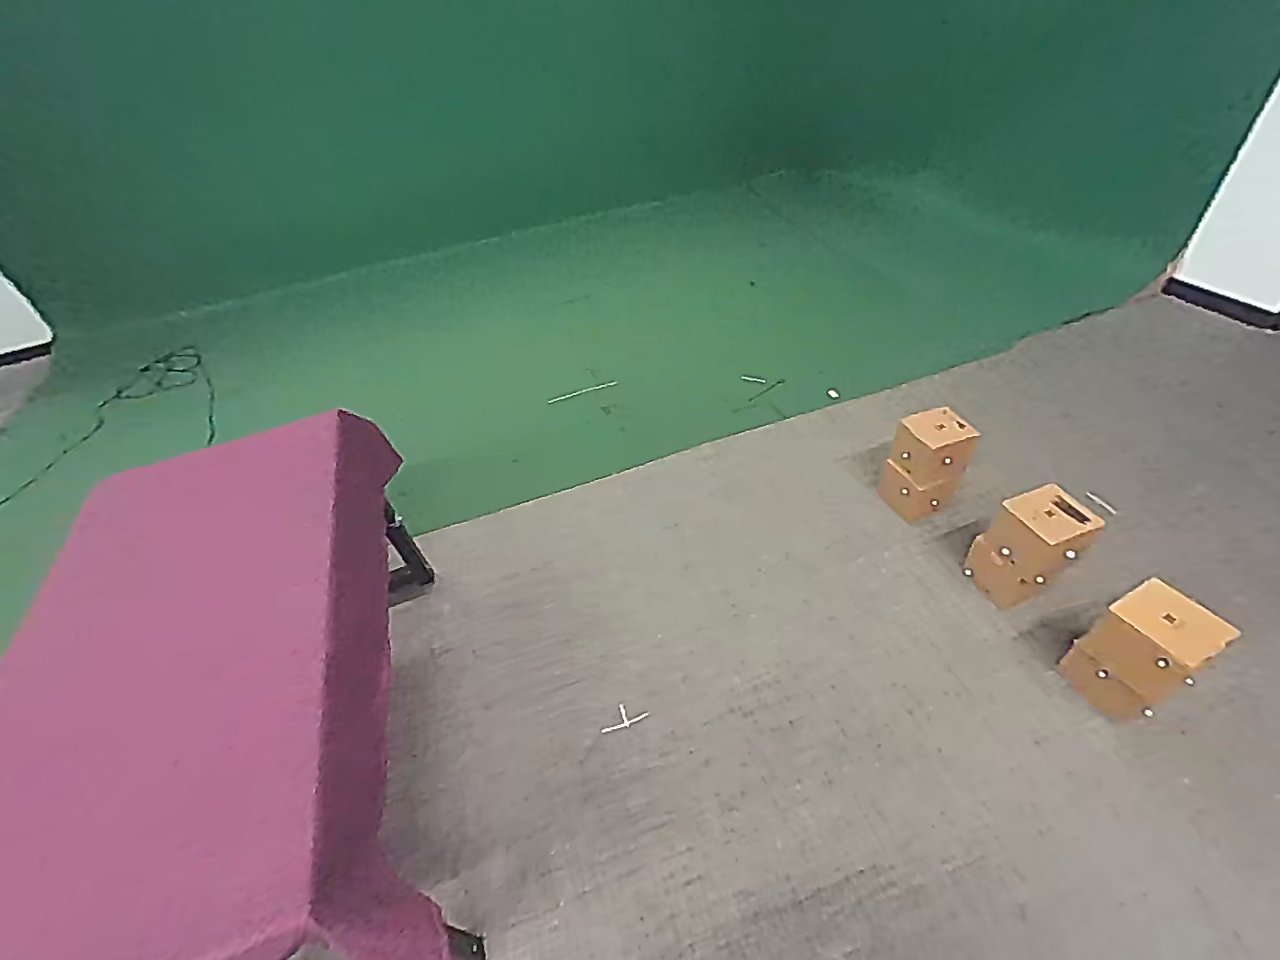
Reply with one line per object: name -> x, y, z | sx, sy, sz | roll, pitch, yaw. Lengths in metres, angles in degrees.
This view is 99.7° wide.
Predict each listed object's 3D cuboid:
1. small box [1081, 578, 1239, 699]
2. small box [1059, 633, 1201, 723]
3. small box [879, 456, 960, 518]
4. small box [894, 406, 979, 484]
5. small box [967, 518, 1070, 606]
small box -> 1.182, 0.367, 1.247 | 0.168, 0.176, 0.179 | -25, 46, -13
small box -> 1.218, 0.475, 1.363 | 0.168, 0.176, 0.179 | -21, 45, -9
small box -> 0.969, 0.013, 1.889 | 0.168, 0.176, 0.179 | -19, 44, -9
small box -> 0.963, -0.110, 1.779 | 0.179, 0.176, 0.168 | -17, 44, -6
small box -> 1.116, 0.249, 1.616 | 0.179, 0.176, 0.168 | -18, 44, -9
